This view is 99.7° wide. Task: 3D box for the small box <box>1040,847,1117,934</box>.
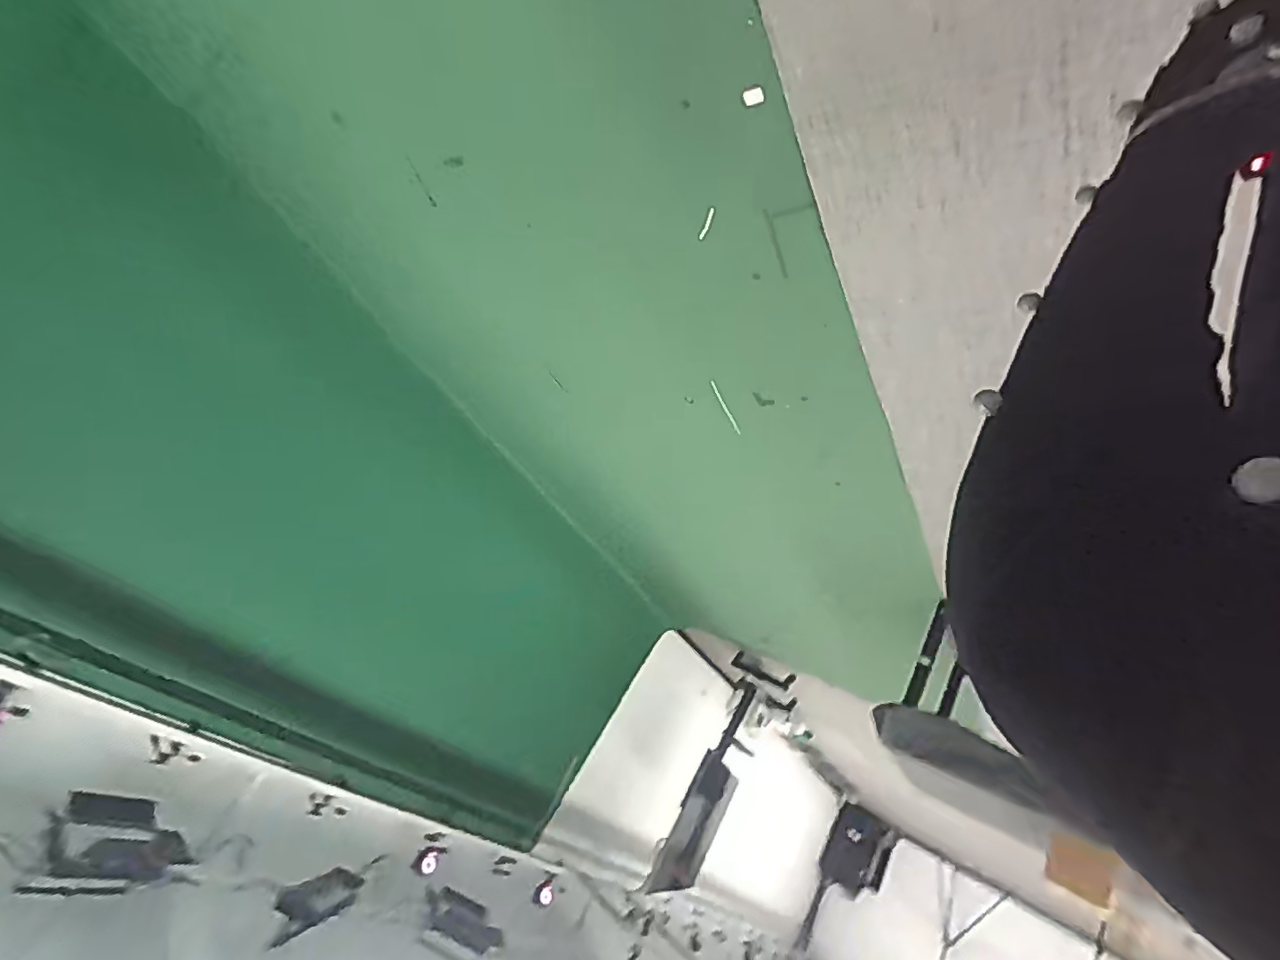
[{"bbox_3d":[1.483,1.374,1.825,0.179,0.176,0.168,8,147,46],"label":"small box"}]
